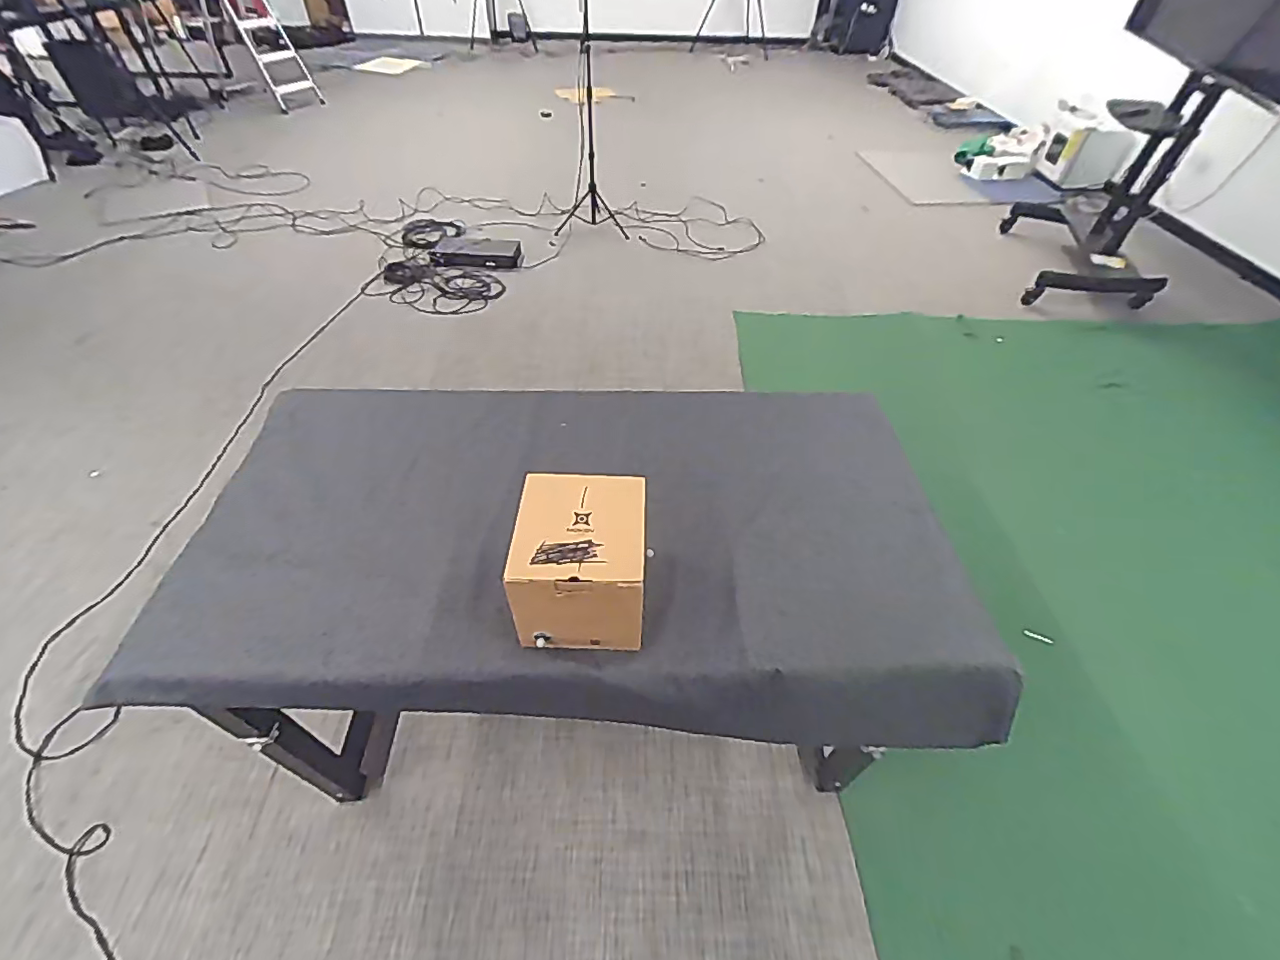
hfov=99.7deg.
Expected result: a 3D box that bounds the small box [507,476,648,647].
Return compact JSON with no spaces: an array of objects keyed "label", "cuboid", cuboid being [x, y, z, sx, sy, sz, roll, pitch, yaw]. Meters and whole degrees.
[{"label":"small box","cuboid":[-0.076,0.116,0.756,0.168,0.176,0.179,3,46,0]}]
